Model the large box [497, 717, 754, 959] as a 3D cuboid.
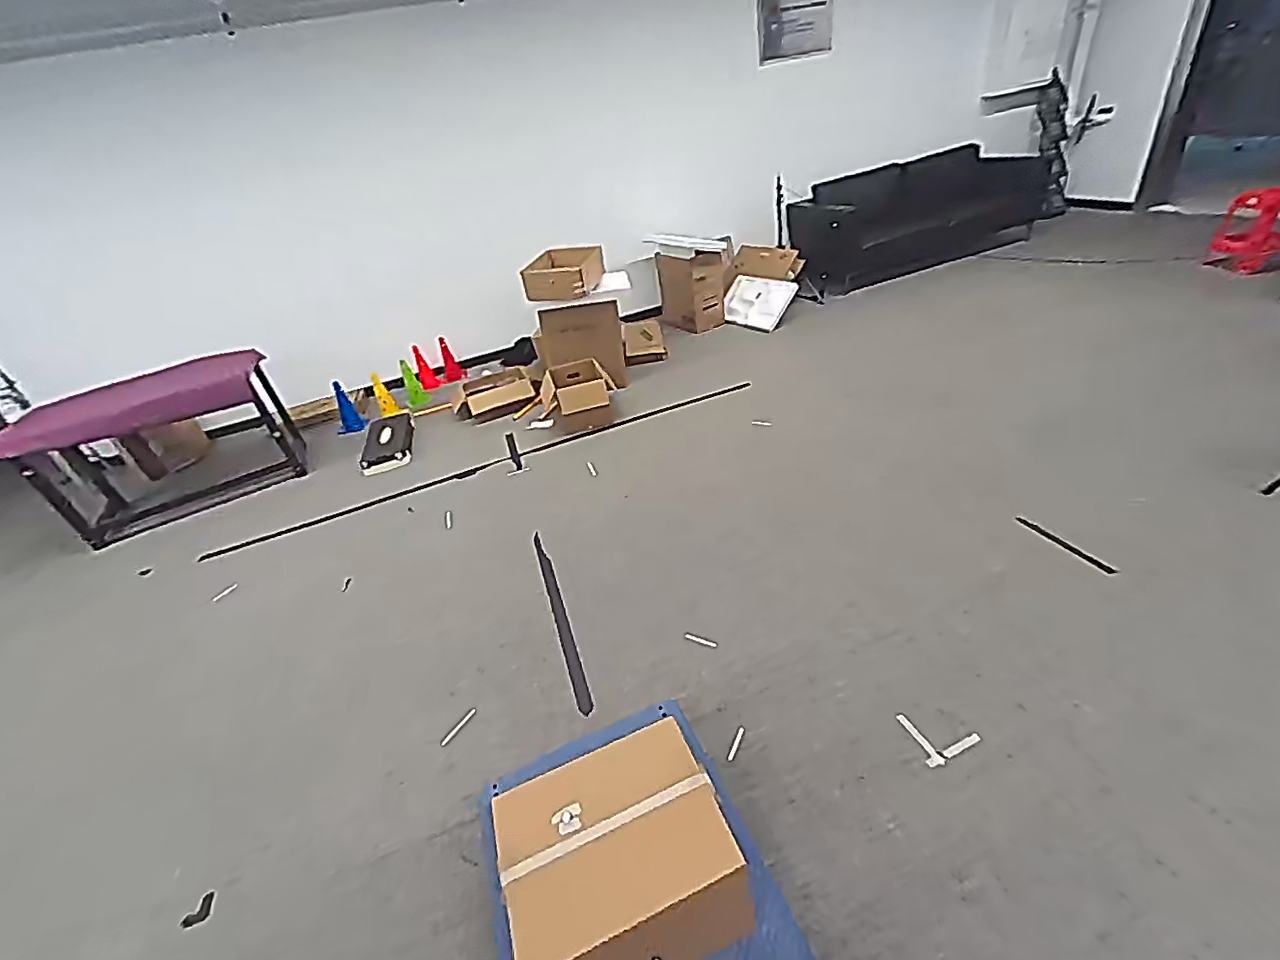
[{"bbox_3d":[-0.027,0.774,1.094,0.408,0.320,0.320,-21,33,-12],"label":"large box"}]
